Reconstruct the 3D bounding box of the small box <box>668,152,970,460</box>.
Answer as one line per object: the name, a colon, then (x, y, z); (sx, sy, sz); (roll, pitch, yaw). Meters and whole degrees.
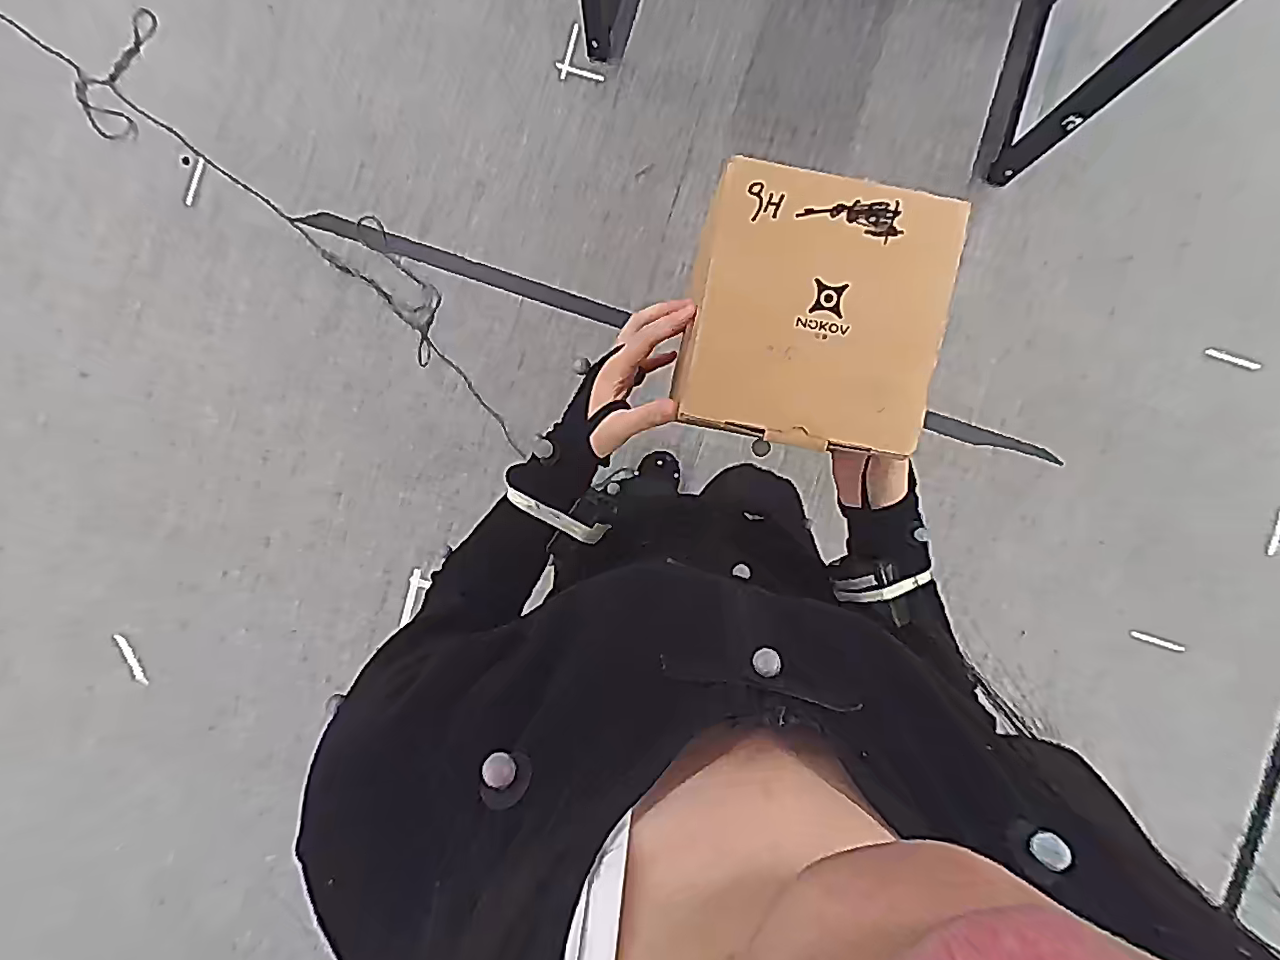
small box: (0.120, -0.123, 0.441); (0.168, 0.176, 0.179); (11, 96, -3)
